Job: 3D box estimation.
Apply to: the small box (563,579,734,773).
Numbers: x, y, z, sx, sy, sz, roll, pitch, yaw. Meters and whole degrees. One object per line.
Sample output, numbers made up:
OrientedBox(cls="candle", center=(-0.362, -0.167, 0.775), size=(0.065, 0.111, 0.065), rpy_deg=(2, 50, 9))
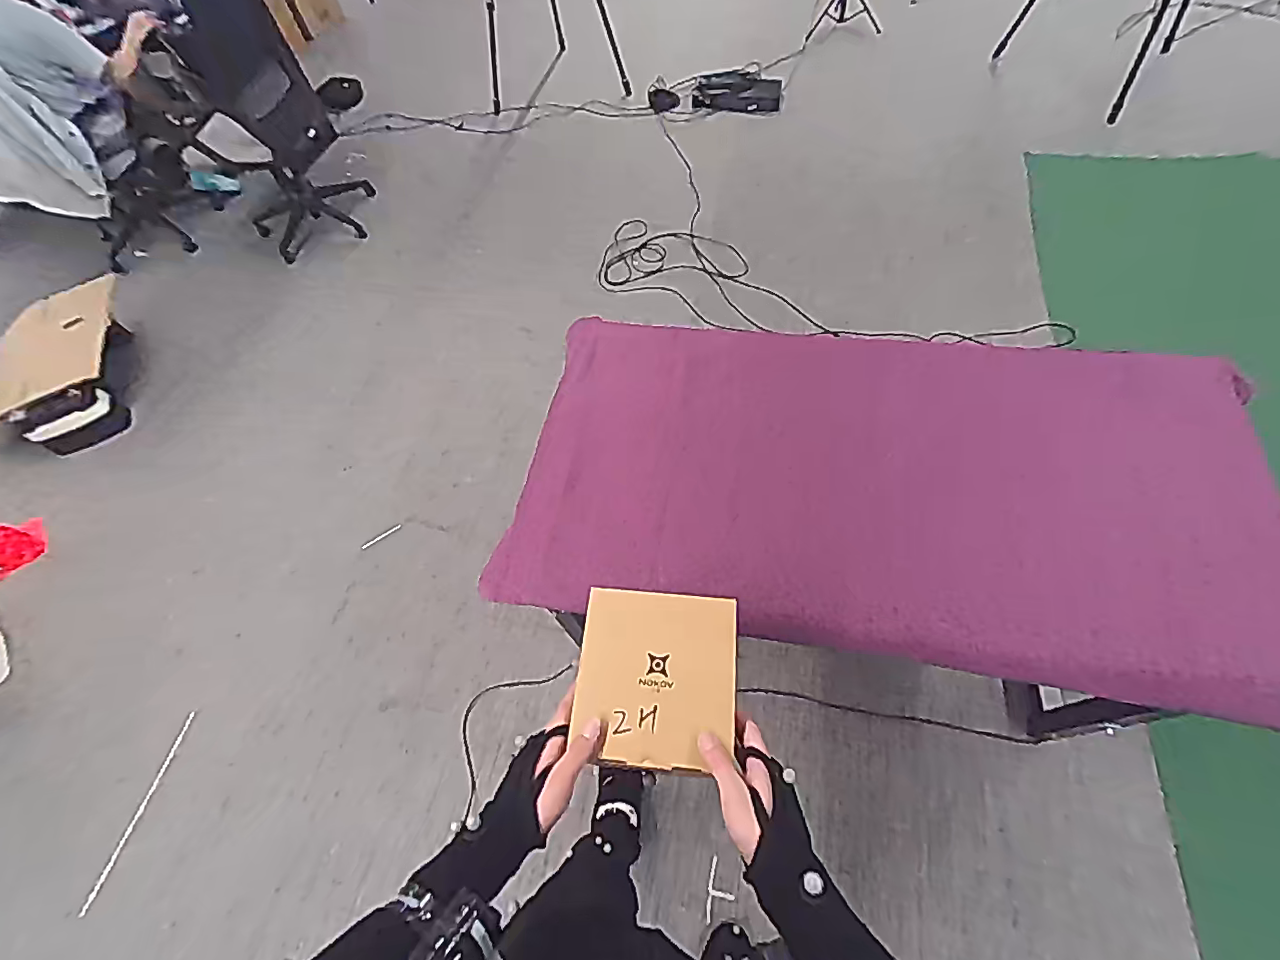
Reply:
OrientedBox(cls="small box", center=(0.017, 0.234, 0.636), size=(0.168, 0.176, 0.179), rpy_deg=(4, 61, 6))
